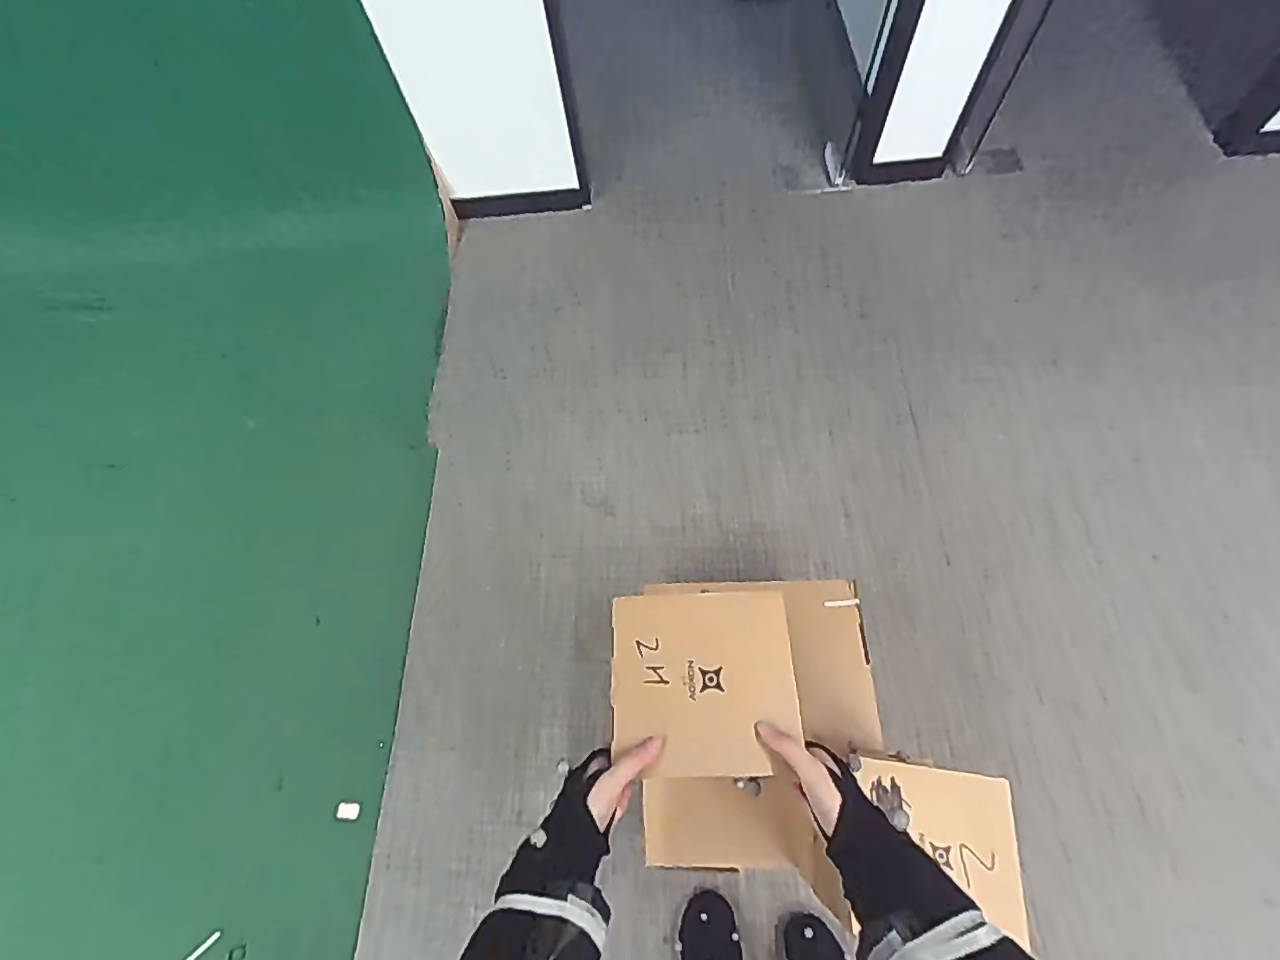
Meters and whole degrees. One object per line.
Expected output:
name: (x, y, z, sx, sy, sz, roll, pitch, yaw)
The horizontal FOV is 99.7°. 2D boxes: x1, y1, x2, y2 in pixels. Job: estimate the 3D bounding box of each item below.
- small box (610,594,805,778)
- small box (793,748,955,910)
small box: (0.065, 0.226, 0.584, 0.179, 0.176, 0.168, -3, 62, 4)
small box: (0.324, 0.495, 0.791, 0.168, 0.176, 0.179, 1, 64, 5)
